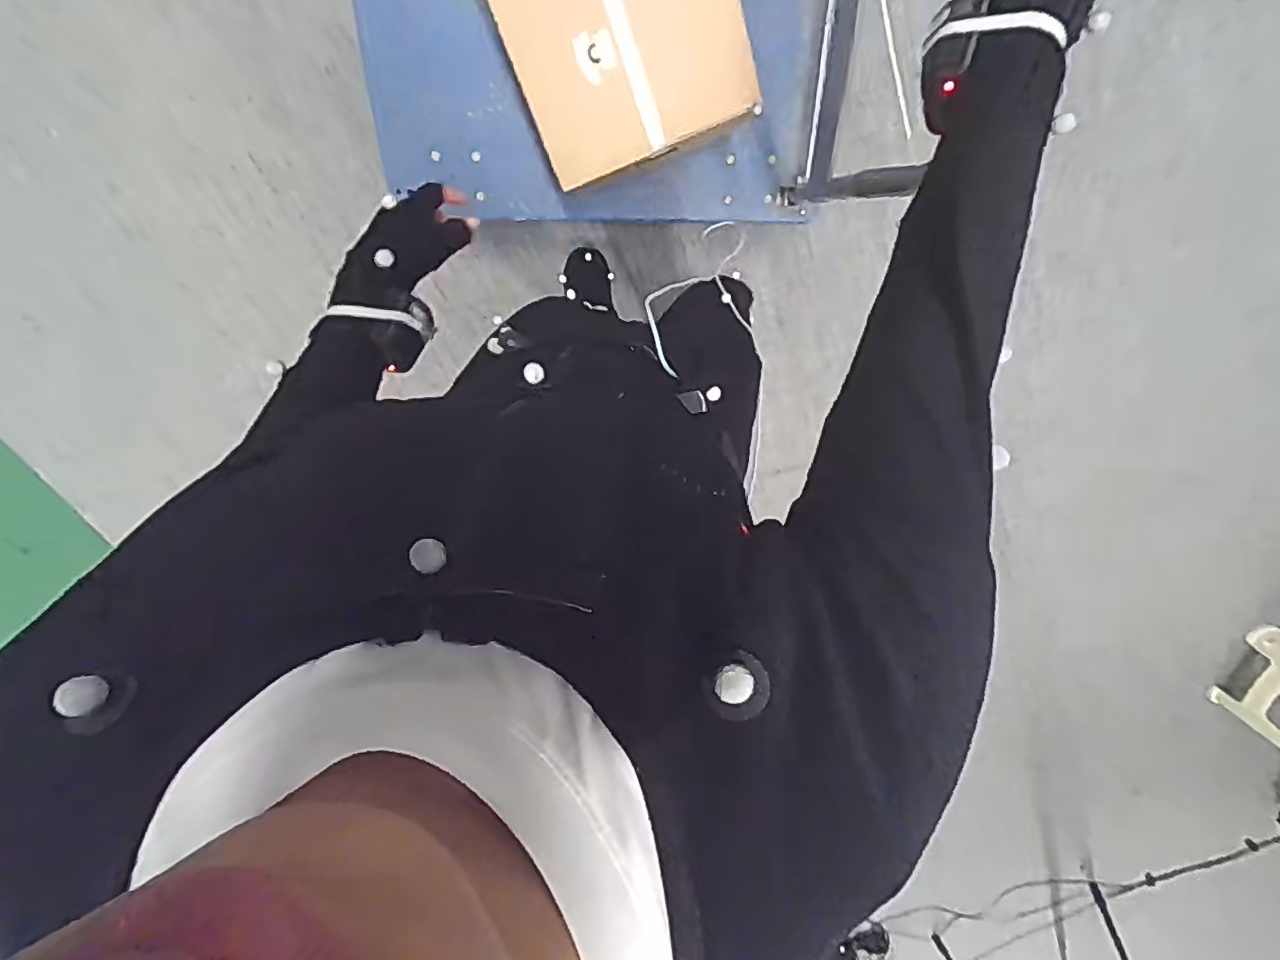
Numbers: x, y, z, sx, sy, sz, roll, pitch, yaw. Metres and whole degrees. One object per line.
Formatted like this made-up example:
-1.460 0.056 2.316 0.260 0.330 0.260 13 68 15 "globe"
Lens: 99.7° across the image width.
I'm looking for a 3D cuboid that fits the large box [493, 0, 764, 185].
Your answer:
-0.038 -0.734 0.842 0.320 0.320 0.408 -19 116 11 "large box"
